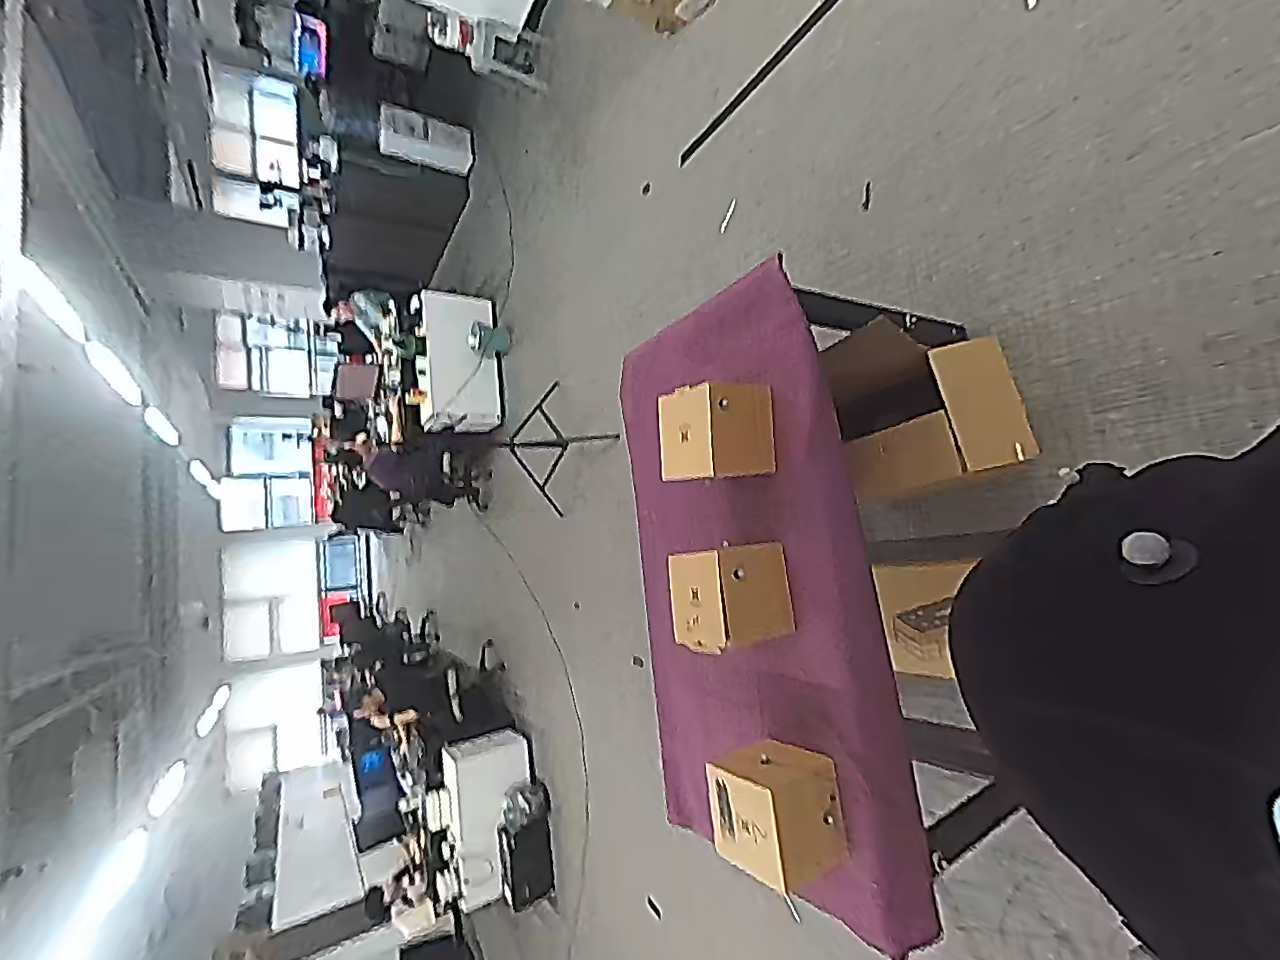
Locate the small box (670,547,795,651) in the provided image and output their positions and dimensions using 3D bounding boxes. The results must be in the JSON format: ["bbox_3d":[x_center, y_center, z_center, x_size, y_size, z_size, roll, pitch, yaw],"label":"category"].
[{"bbox_3d":[0.183,0.228,1.074,0.168,0.176,0.179,-20,75,58],"label":"small box"}]

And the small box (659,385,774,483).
[{"bbox_3d":[0.156,-0.088,1.098,0.168,0.176,0.179,-6,86,57],"label":"small box"}]
